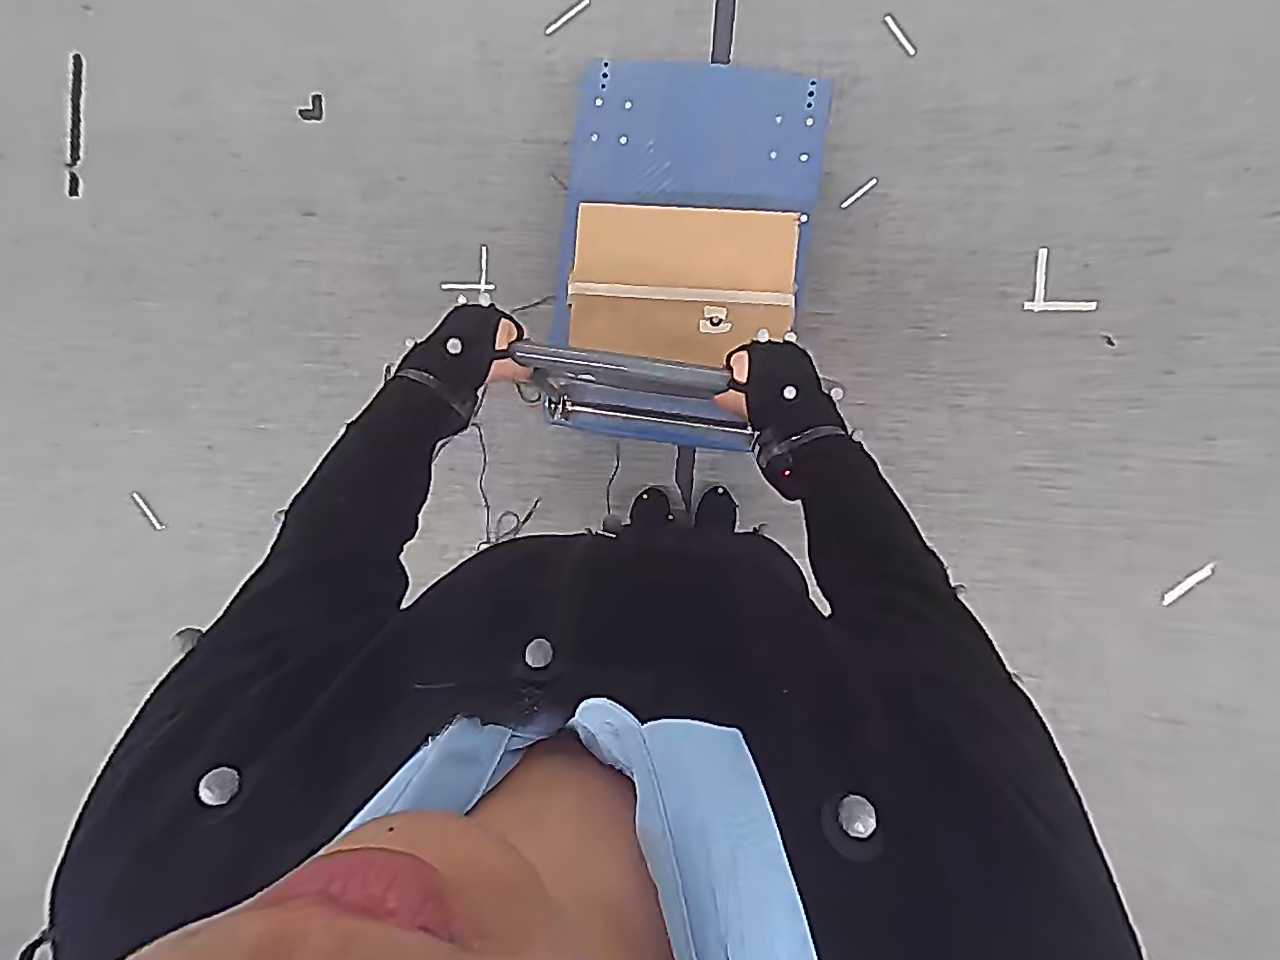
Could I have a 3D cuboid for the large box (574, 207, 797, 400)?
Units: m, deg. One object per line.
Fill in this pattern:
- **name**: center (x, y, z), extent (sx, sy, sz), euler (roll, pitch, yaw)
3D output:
- **large box**: center (0.088, -0.349, 1.151), extent (0.408, 0.320, 0.320), euler (5, 94, 3)
